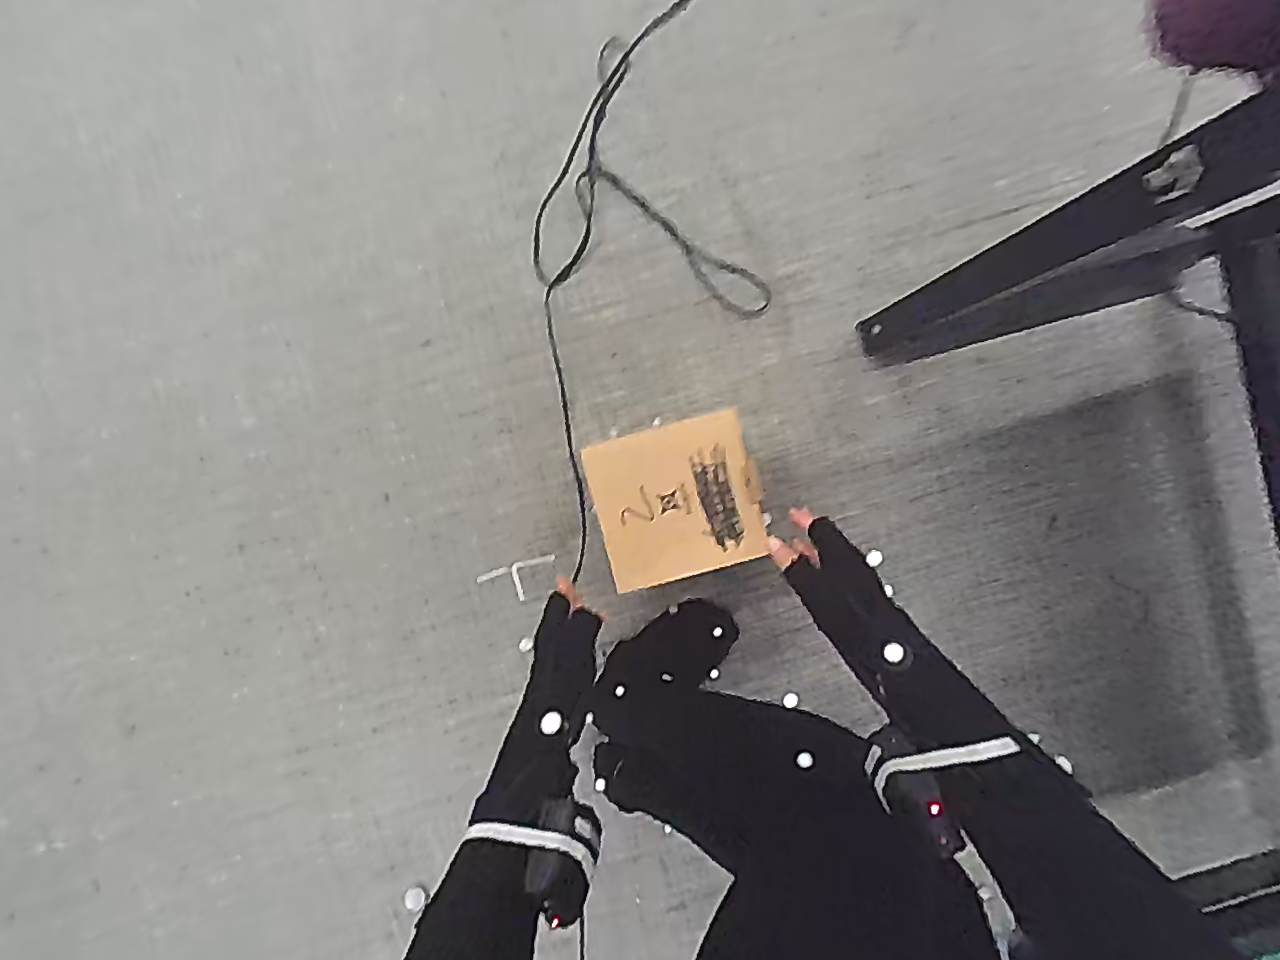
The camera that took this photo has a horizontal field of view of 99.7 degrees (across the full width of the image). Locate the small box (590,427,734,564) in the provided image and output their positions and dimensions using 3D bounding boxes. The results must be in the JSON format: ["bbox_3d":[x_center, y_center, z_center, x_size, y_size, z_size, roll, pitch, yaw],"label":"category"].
[{"bbox_3d":[0.029,0.018,0.834,0.179,0.176,0.168,-13,92,0],"label":"small box"}]
